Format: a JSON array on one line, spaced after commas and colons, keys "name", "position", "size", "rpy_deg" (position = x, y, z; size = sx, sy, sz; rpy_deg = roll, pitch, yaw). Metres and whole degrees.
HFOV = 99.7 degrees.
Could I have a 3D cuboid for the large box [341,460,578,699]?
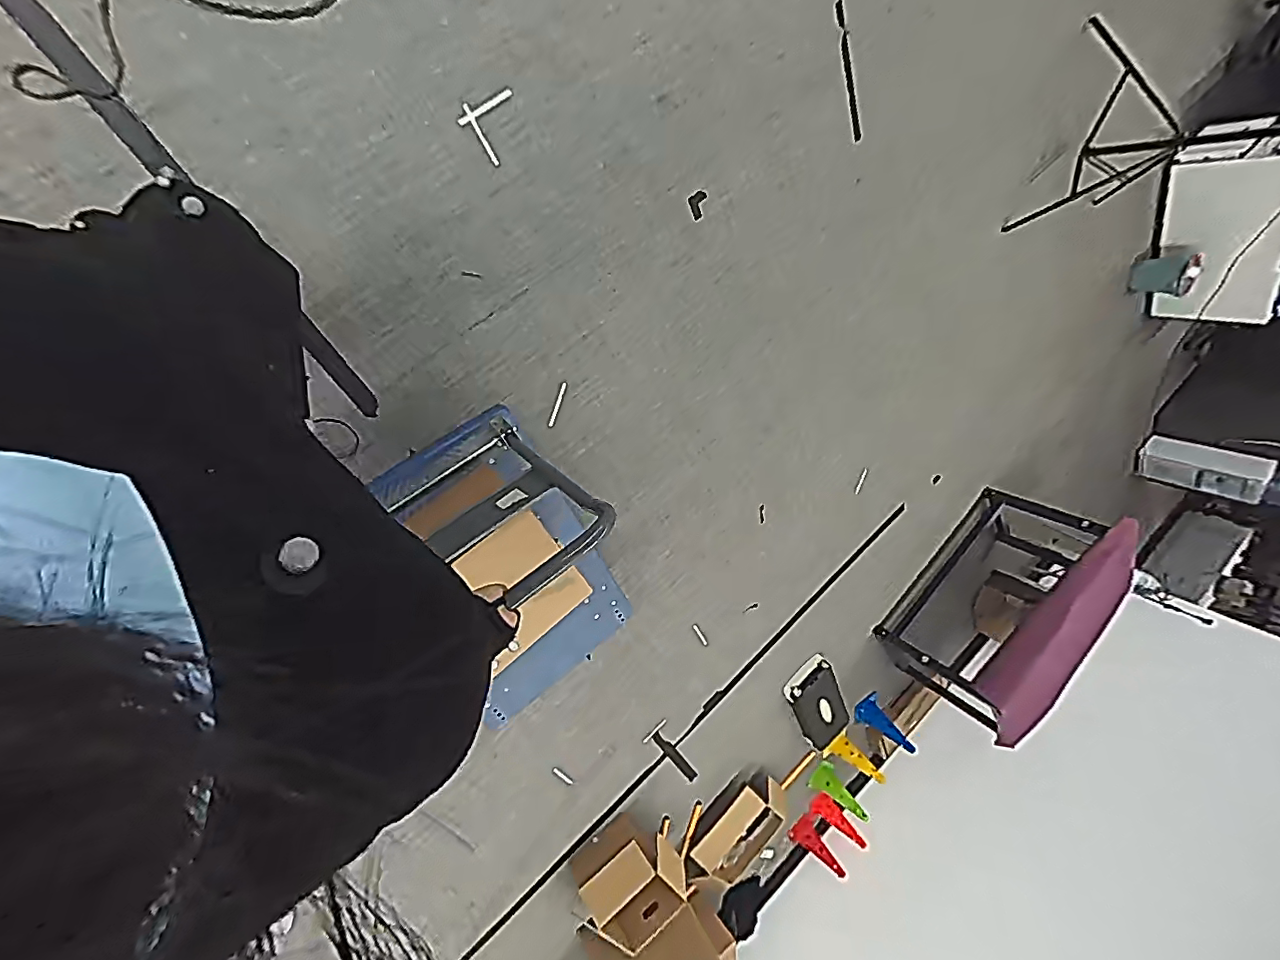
[{"name": "large box", "position": [-0.433, 0.220, 1.305], "size": [0.408, 0.320, 0.320], "rpy_deg": [-39, 125, -13]}]
